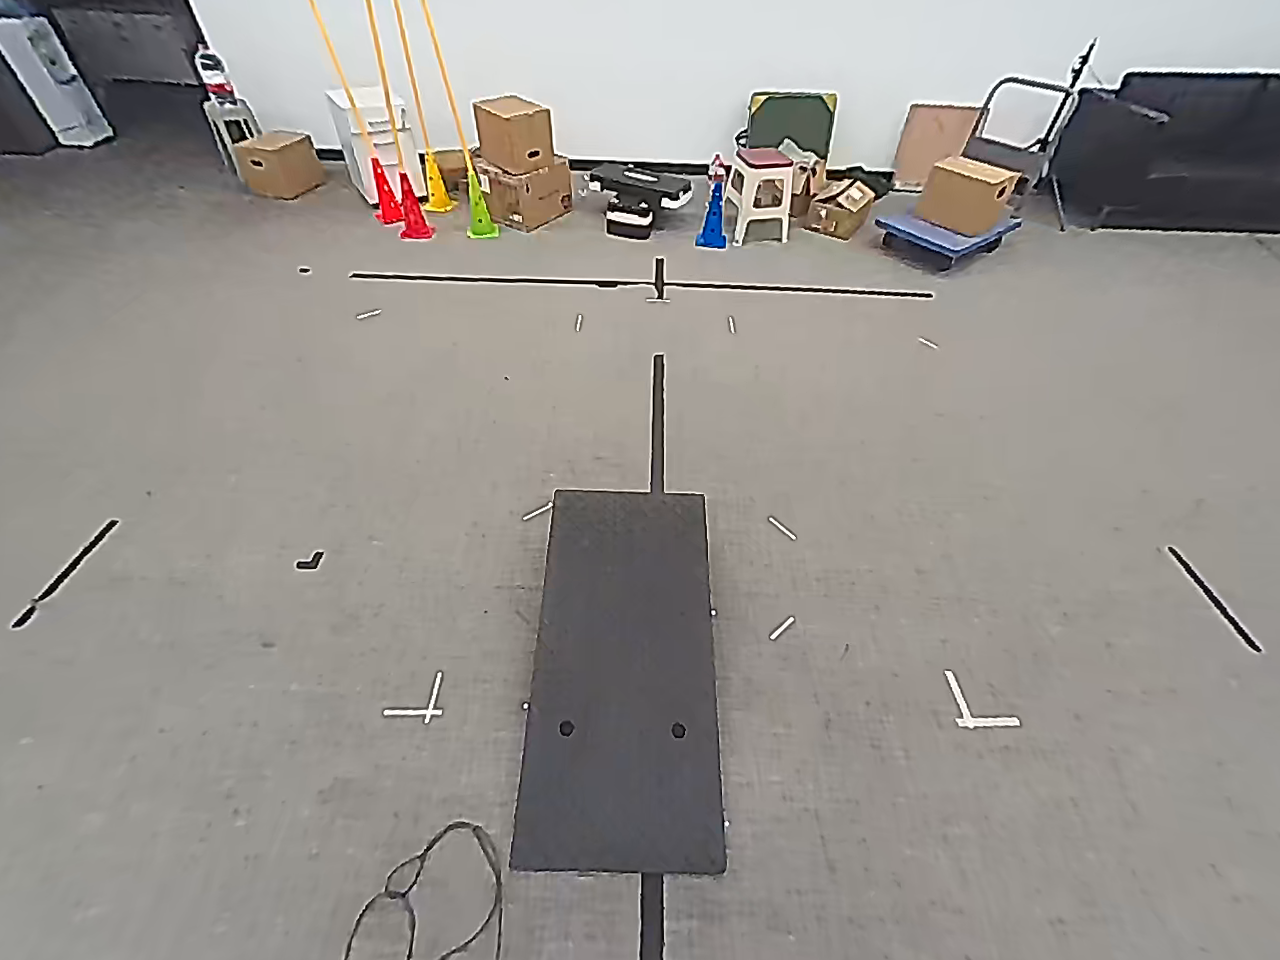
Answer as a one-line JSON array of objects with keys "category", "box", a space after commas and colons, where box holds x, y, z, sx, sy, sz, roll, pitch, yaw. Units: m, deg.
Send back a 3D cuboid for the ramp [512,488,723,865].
[{"category": "ramp", "box": [-0.040, 0.454, 1.499, 0.509, 0.206, 0.991, 2, 47, -3]}]
